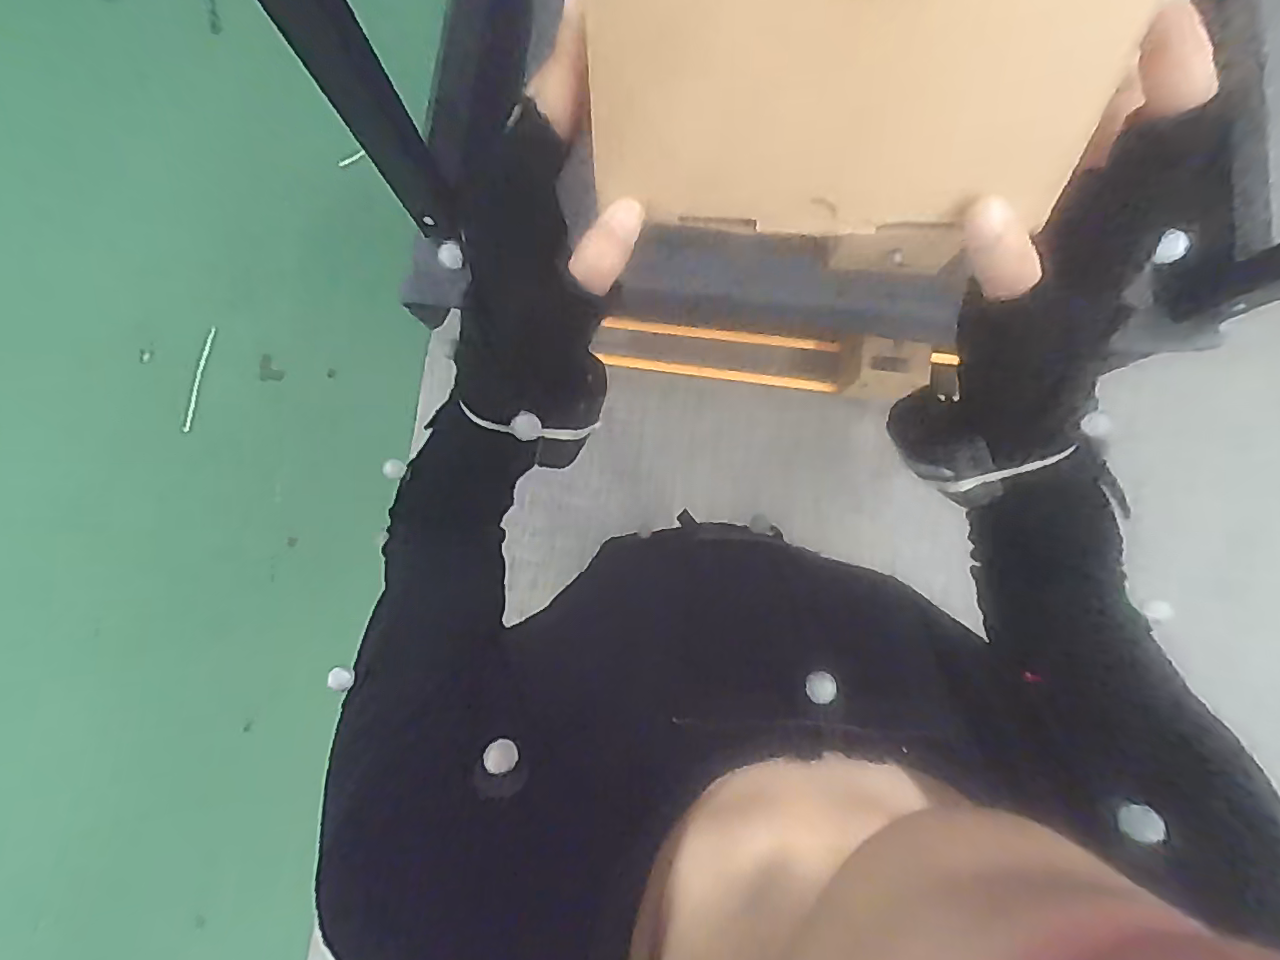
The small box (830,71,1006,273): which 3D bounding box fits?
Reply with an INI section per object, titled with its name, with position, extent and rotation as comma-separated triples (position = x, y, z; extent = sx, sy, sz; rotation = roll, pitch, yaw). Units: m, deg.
[small box]
position = 0.375, -0.420, 0.757
extent = 0.168, 0.176, 0.179
rotation = 5, 81, 2
